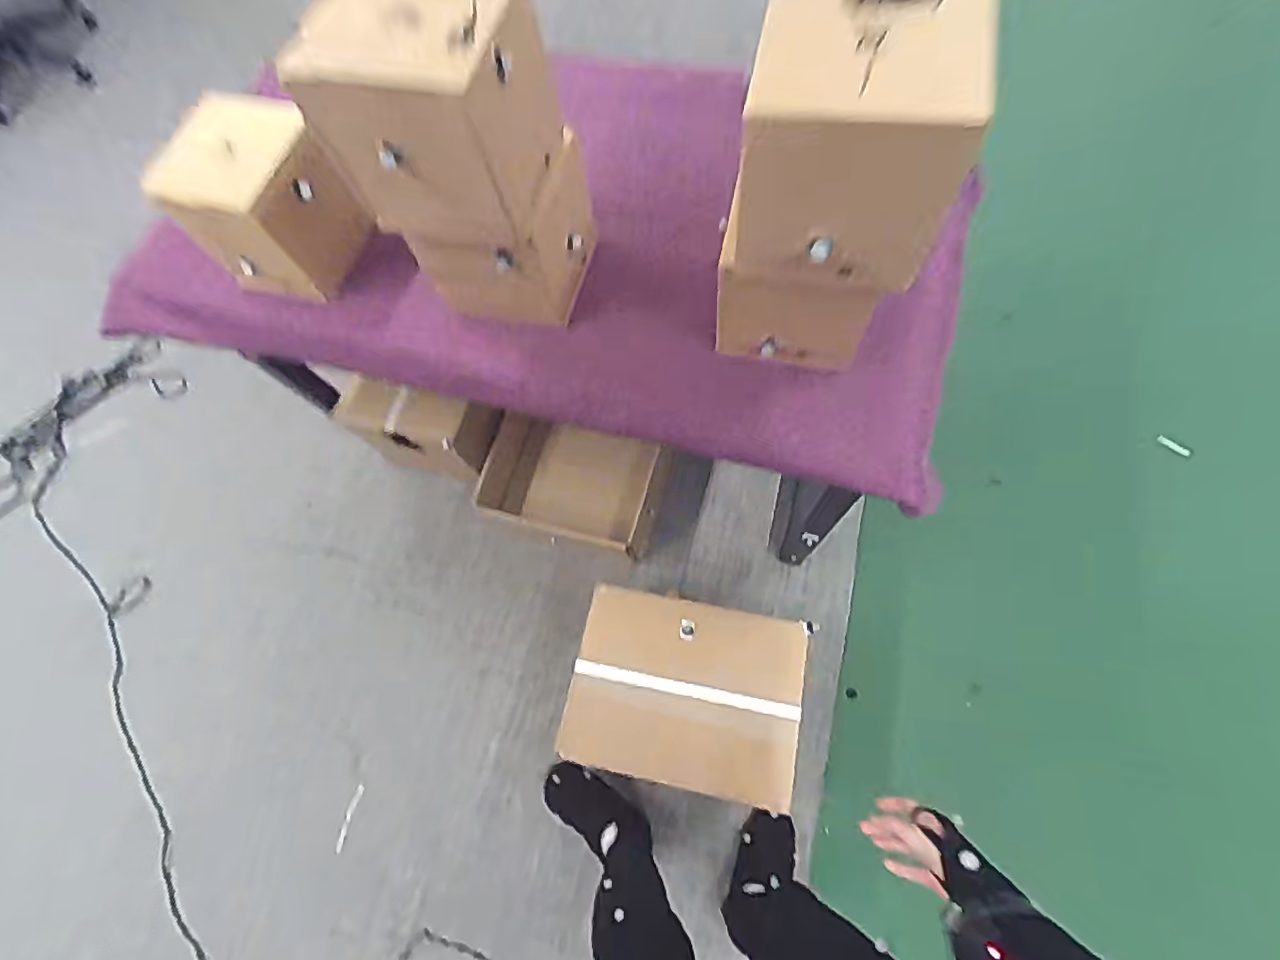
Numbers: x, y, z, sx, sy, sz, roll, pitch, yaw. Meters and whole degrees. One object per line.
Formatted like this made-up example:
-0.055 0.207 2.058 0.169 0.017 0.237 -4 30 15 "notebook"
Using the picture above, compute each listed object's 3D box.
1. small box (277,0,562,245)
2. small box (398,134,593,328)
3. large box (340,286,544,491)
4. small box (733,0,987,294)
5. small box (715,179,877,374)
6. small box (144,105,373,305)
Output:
-0.198 -0.362 0.542 0.179 0.176 0.168 10 71 11 "small box"
-0.172 -0.319 0.699 0.179 0.176 0.168 11 70 11 "small box"
-0.483 -0.228 1.413 0.320 0.320 0.408 13 73 11 "large box"
0.176 -0.295 0.474 0.168 0.176 0.179 10 70 12 "small box"
0.182 -0.251 0.633 0.168 0.176 0.179 10 70 12 "small box"
-0.513 -0.380 0.763 0.168 0.176 0.179 13 71 11 "small box"
